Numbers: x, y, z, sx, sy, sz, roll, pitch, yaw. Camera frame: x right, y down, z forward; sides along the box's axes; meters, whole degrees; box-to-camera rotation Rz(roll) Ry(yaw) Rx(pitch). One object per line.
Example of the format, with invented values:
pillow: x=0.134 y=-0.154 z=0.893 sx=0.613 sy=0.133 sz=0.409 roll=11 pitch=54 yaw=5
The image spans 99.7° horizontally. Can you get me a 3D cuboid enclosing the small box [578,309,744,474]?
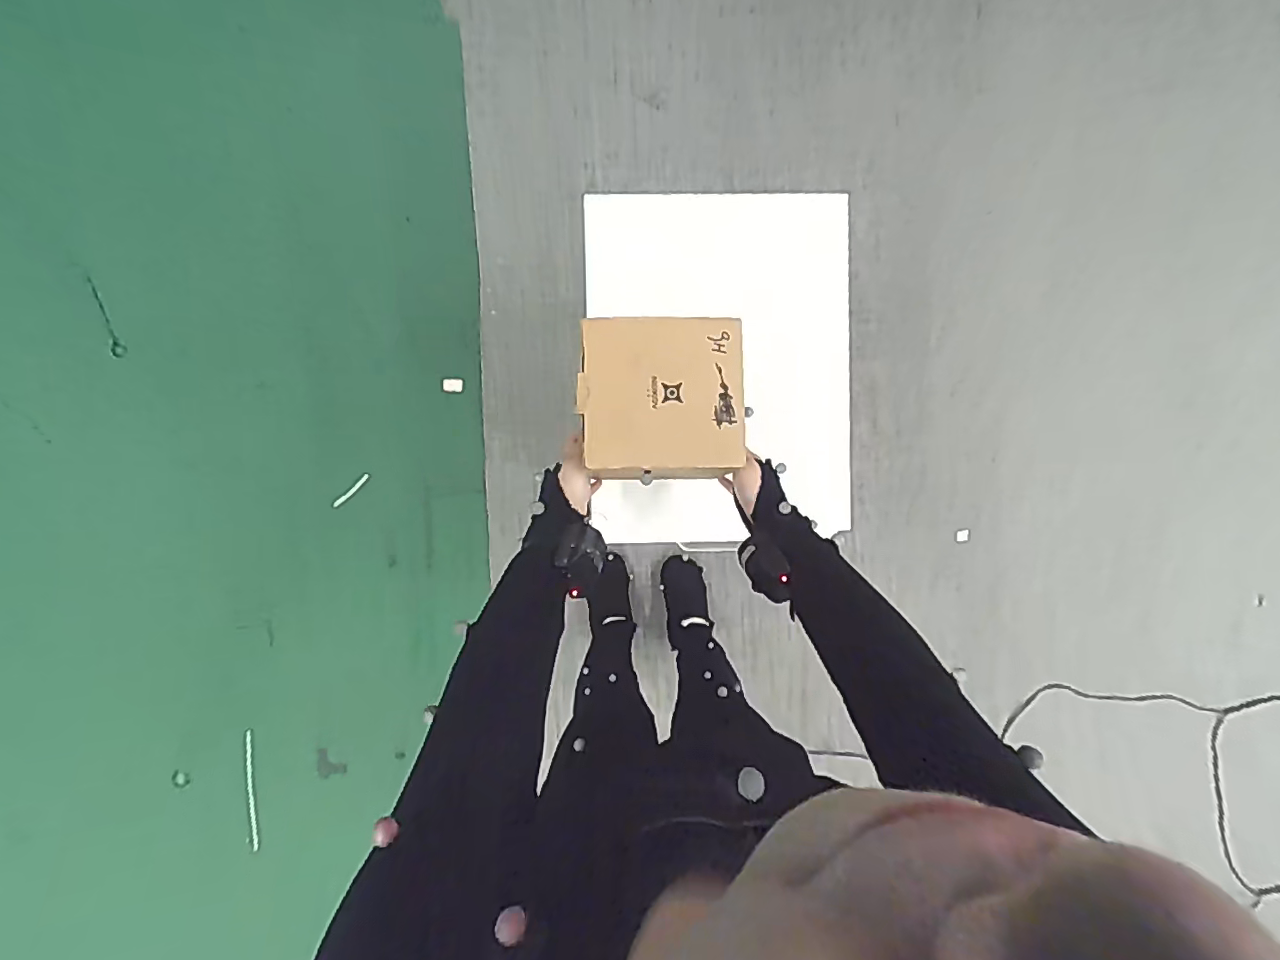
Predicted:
small box: x=0.023 y=-0.095 z=0.651 sx=0.179 sy=0.176 sz=0.168 roll=-1 pitch=87 yaw=-1
